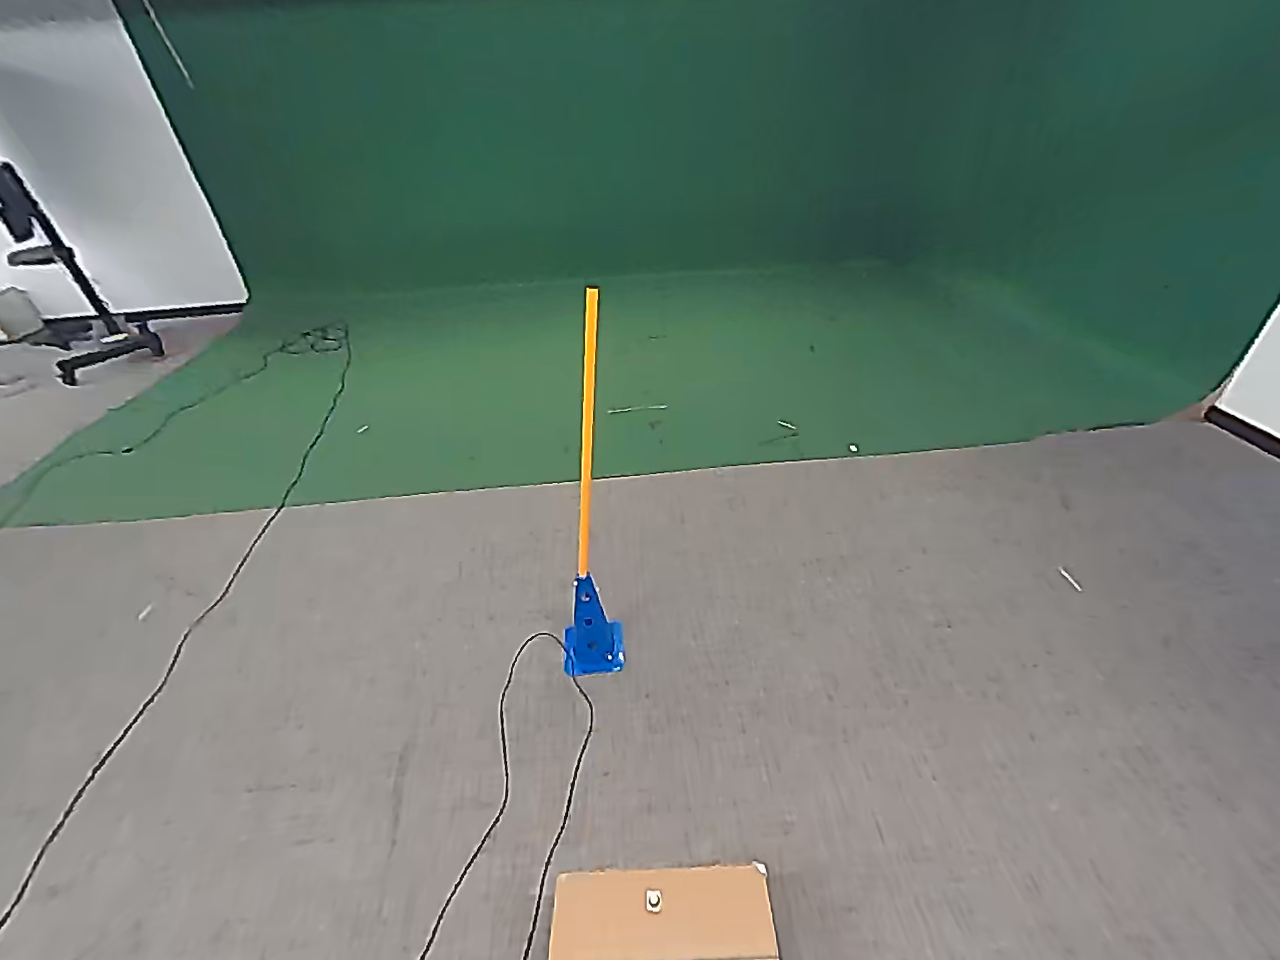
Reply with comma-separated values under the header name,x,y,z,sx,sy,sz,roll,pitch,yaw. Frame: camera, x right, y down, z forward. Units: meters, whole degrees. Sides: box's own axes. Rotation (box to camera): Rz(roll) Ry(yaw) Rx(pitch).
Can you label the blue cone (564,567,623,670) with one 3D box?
name,x,y,z,sx,sy,sz,roll,pitch,yaw
blue cone,-0.163,0.415,1.719,0.193,0.380,0.192,-5,37,-5
